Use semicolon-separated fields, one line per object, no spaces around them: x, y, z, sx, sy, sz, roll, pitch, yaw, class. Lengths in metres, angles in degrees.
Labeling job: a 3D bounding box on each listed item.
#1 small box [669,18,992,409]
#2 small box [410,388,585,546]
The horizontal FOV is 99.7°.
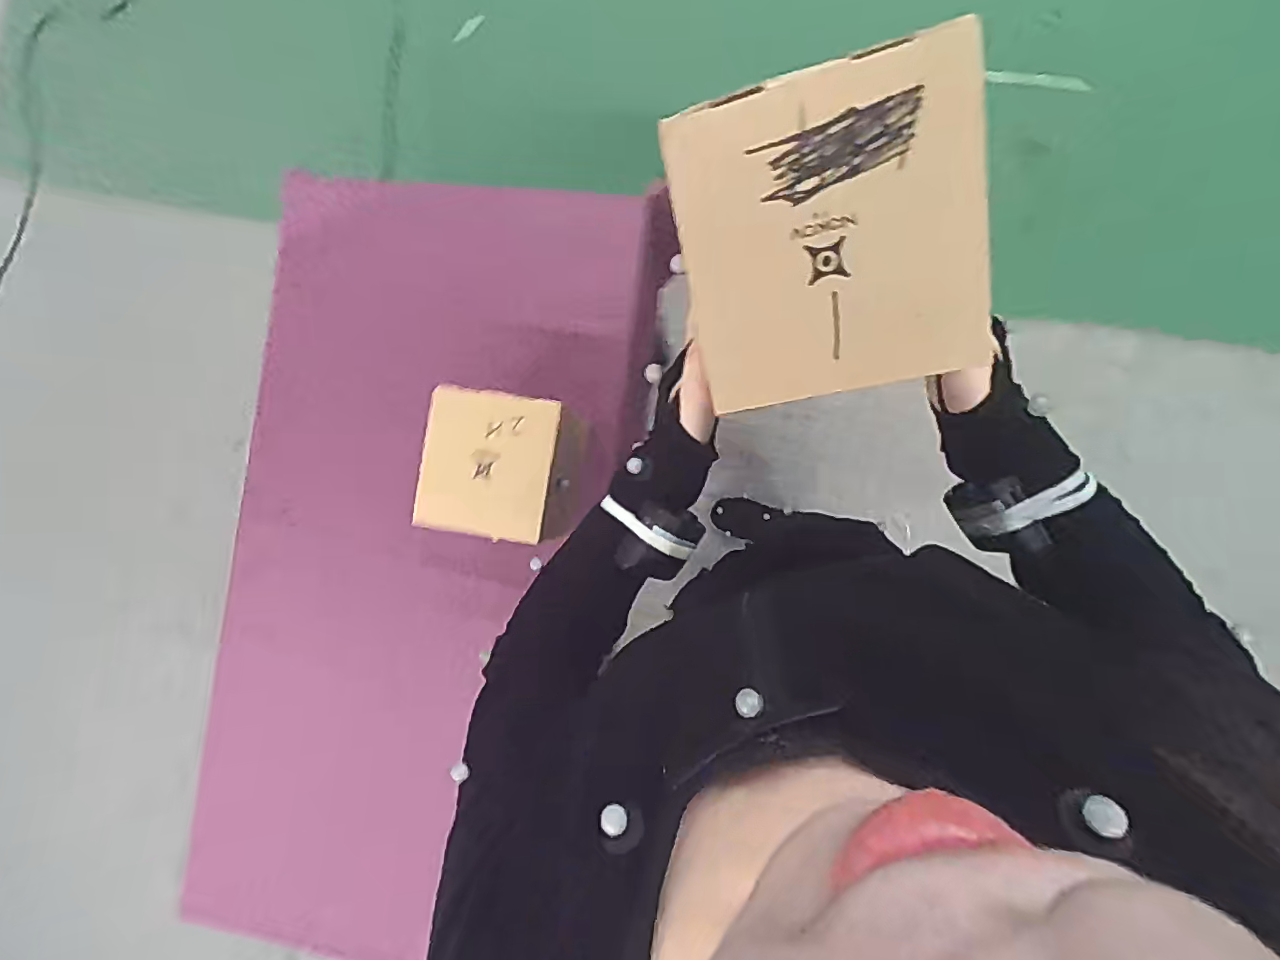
0.124;-0.164;0.382;0.168;0.176;0.179;-8;109;15;small box
-0.180;-0.014;0.734;0.168;0.176;0.179;8;88;8;small box
